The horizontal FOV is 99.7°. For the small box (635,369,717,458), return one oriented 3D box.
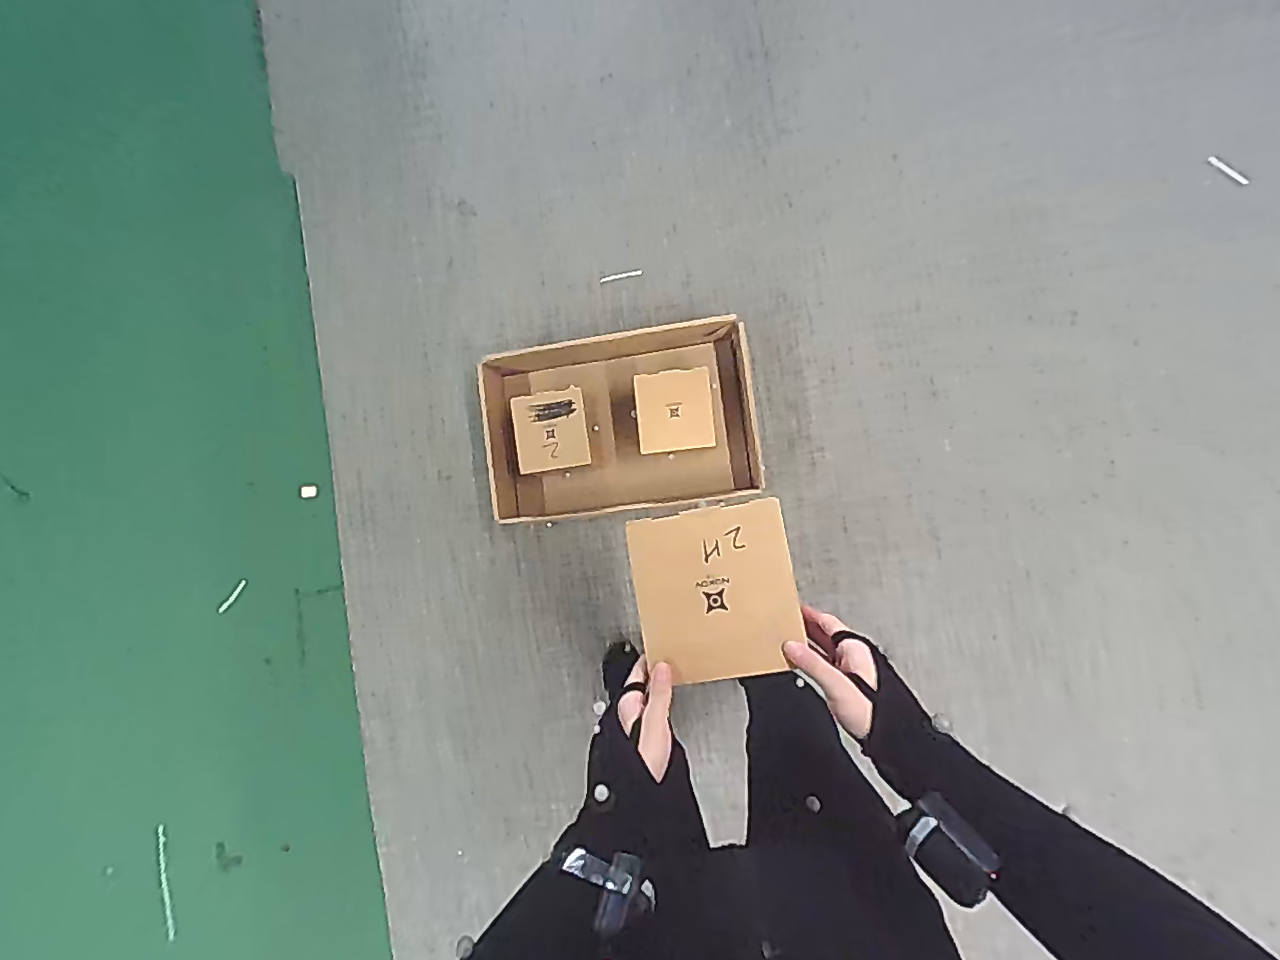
[{"bbox_3d":[0.088,-0.145,1.249,0.168,0.176,0.179,-6,87,8],"label":"small box"}]

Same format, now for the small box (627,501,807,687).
[{"bbox_3d":[0.089,0.126,0.639,0.168,0.176,0.179,-10,82,7],"label":"small box"}]
